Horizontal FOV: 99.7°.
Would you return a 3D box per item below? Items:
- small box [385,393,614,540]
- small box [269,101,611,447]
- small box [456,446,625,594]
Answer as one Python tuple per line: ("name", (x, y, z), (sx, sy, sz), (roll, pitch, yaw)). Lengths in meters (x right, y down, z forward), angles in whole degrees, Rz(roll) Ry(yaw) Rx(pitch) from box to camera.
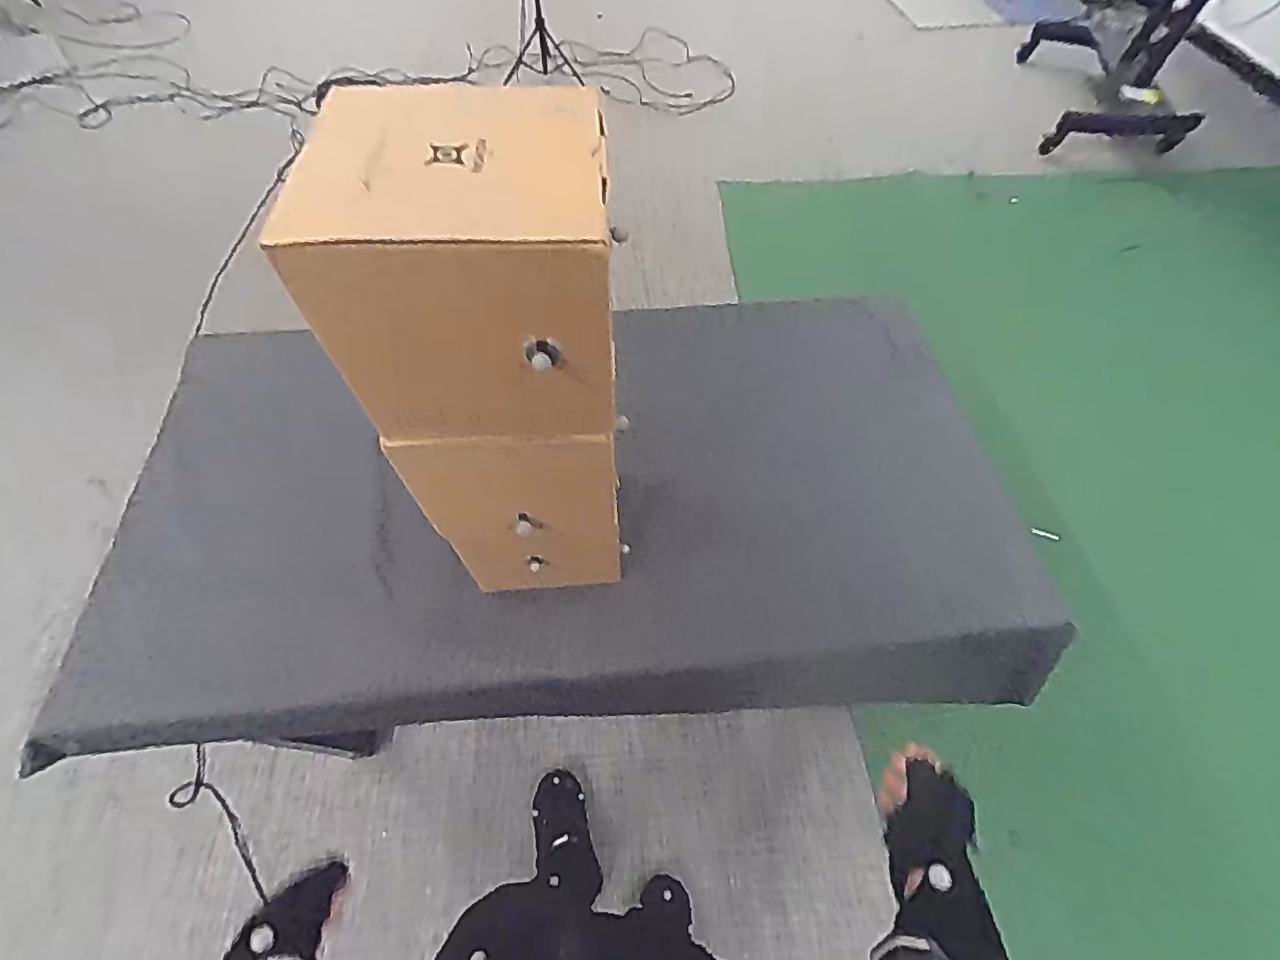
("small box", (-0.116, -0.051, 0.526), (0.179, 0.176, 0.168), (-2, 58, -4))
("small box", (-0.110, -0.138, 0.388), (0.179, 0.176, 0.168), (-4, 58, -3))
("small box", (-0.117, 0.029, 0.668), (0.179, 0.176, 0.168), (-6, 59, -7))
